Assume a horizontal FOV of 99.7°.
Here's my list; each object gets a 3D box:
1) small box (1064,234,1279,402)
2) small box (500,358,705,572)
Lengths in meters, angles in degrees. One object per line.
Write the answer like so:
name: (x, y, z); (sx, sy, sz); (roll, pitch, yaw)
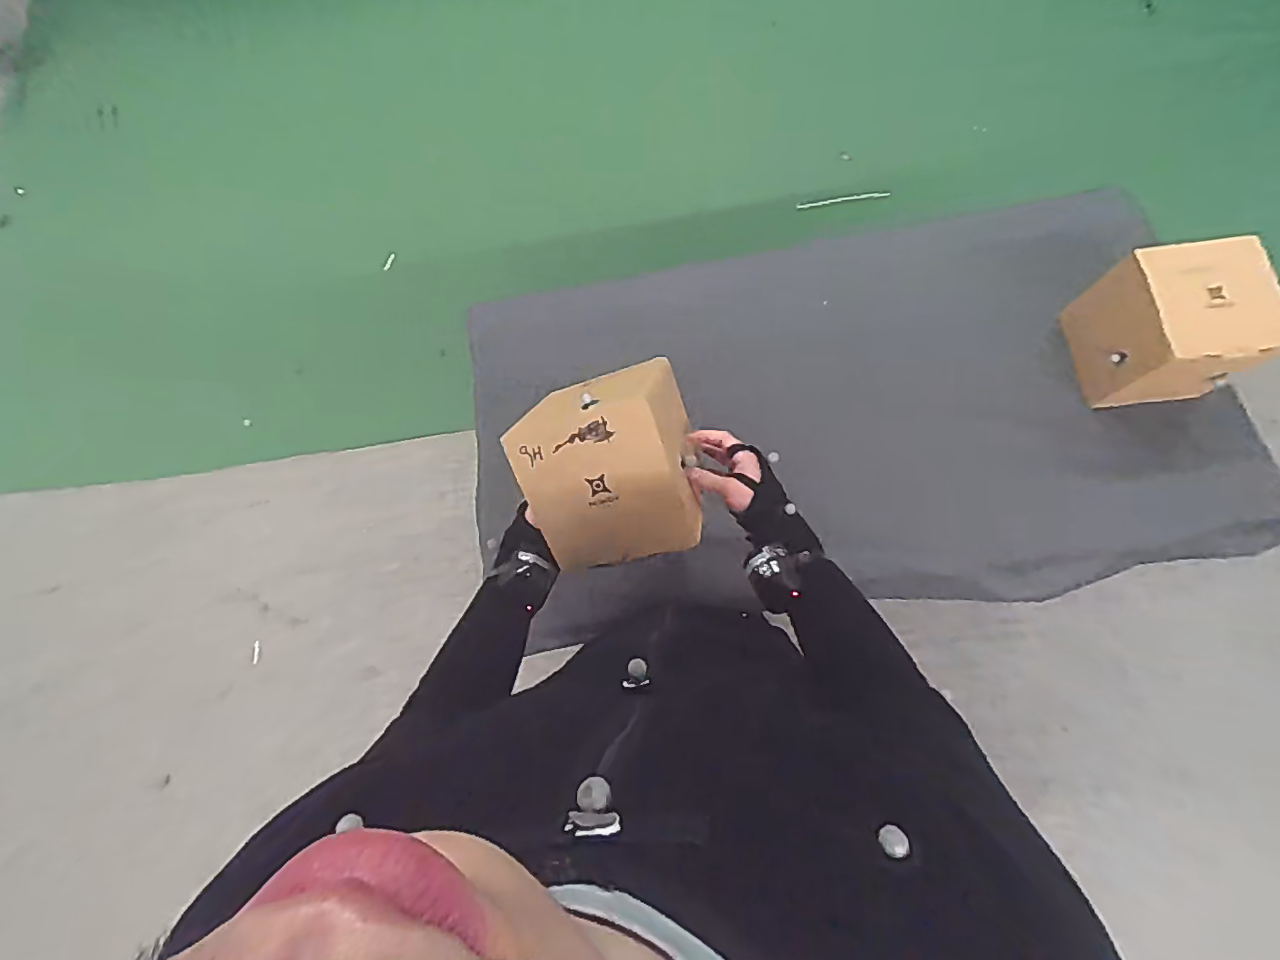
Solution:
small box: (0.787, -0.226, 0.801); (0.168, 0.176, 0.179); (-6, 73, 3)
small box: (-0.027, -0.022, 0.628); (0.168, 0.176, 0.179); (-14, 111, 17)
